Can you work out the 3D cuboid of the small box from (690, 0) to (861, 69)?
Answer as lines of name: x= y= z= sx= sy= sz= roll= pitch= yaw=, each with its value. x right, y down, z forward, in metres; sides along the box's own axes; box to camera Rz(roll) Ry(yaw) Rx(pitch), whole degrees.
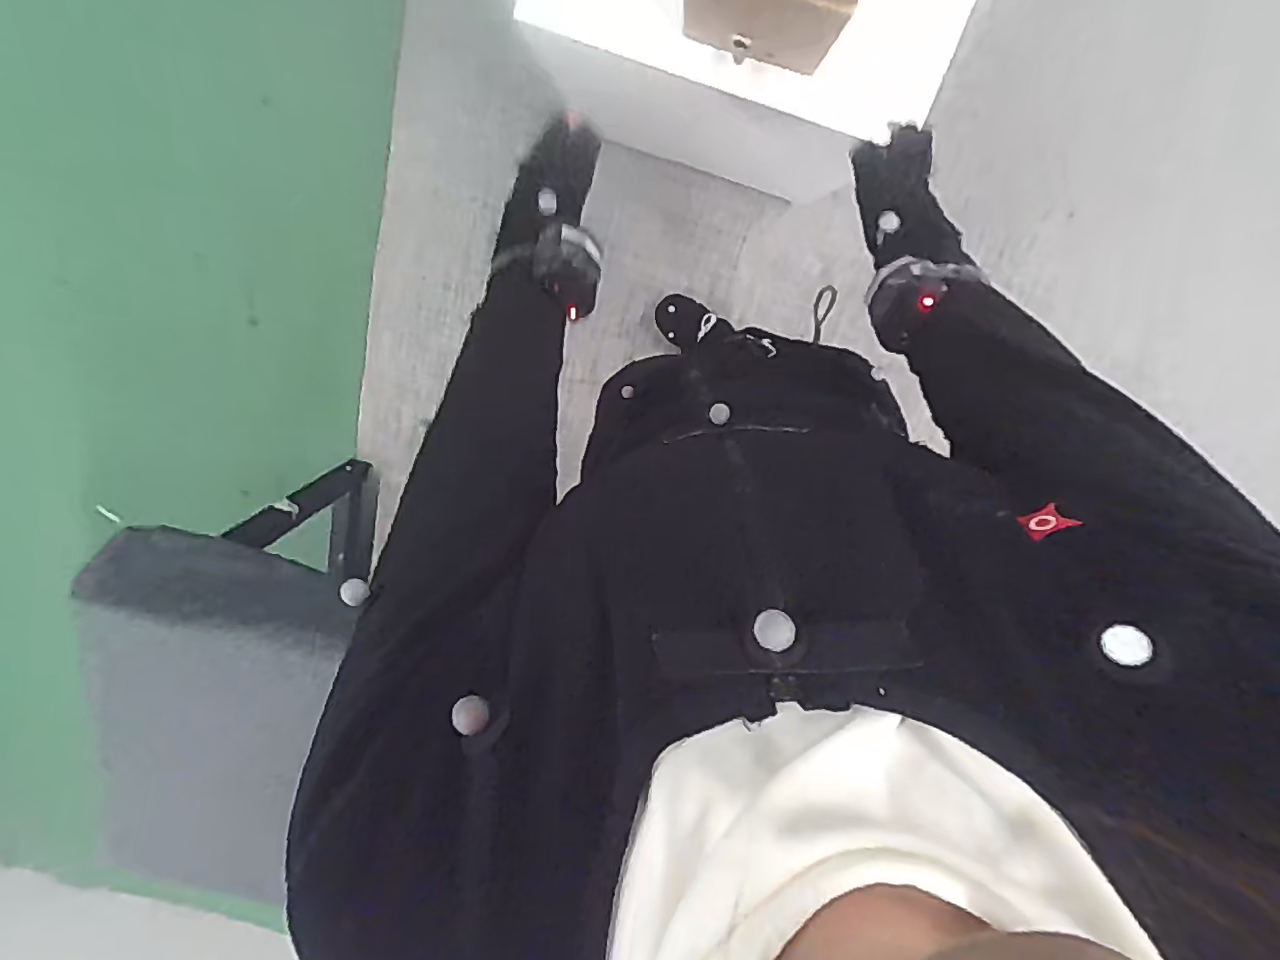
small box: x=0.146 y=-0.549 z=0.529 sx=0.168 sy=0.176 sz=0.179 roll=15 pitch=113 yaw=0
